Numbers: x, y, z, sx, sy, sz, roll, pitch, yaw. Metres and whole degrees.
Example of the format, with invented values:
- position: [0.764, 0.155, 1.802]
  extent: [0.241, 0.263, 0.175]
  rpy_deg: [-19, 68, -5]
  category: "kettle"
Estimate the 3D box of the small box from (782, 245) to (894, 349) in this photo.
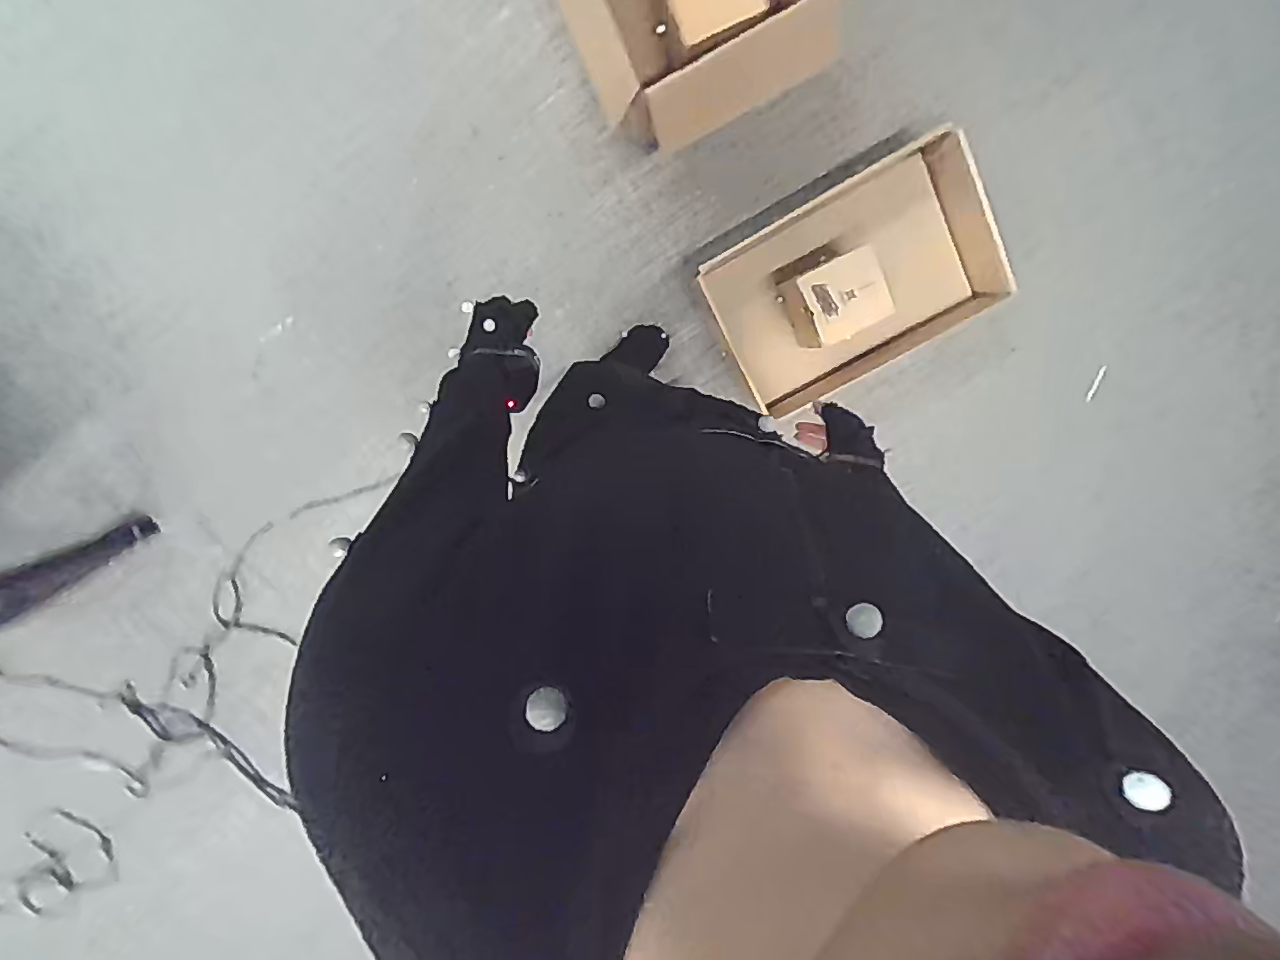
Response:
- position: [0.444, -0.413, 1.249]
  extent: [0.179, 0.176, 0.168]
  rpy_deg: [-26, 104, 4]
  category: "small box"
